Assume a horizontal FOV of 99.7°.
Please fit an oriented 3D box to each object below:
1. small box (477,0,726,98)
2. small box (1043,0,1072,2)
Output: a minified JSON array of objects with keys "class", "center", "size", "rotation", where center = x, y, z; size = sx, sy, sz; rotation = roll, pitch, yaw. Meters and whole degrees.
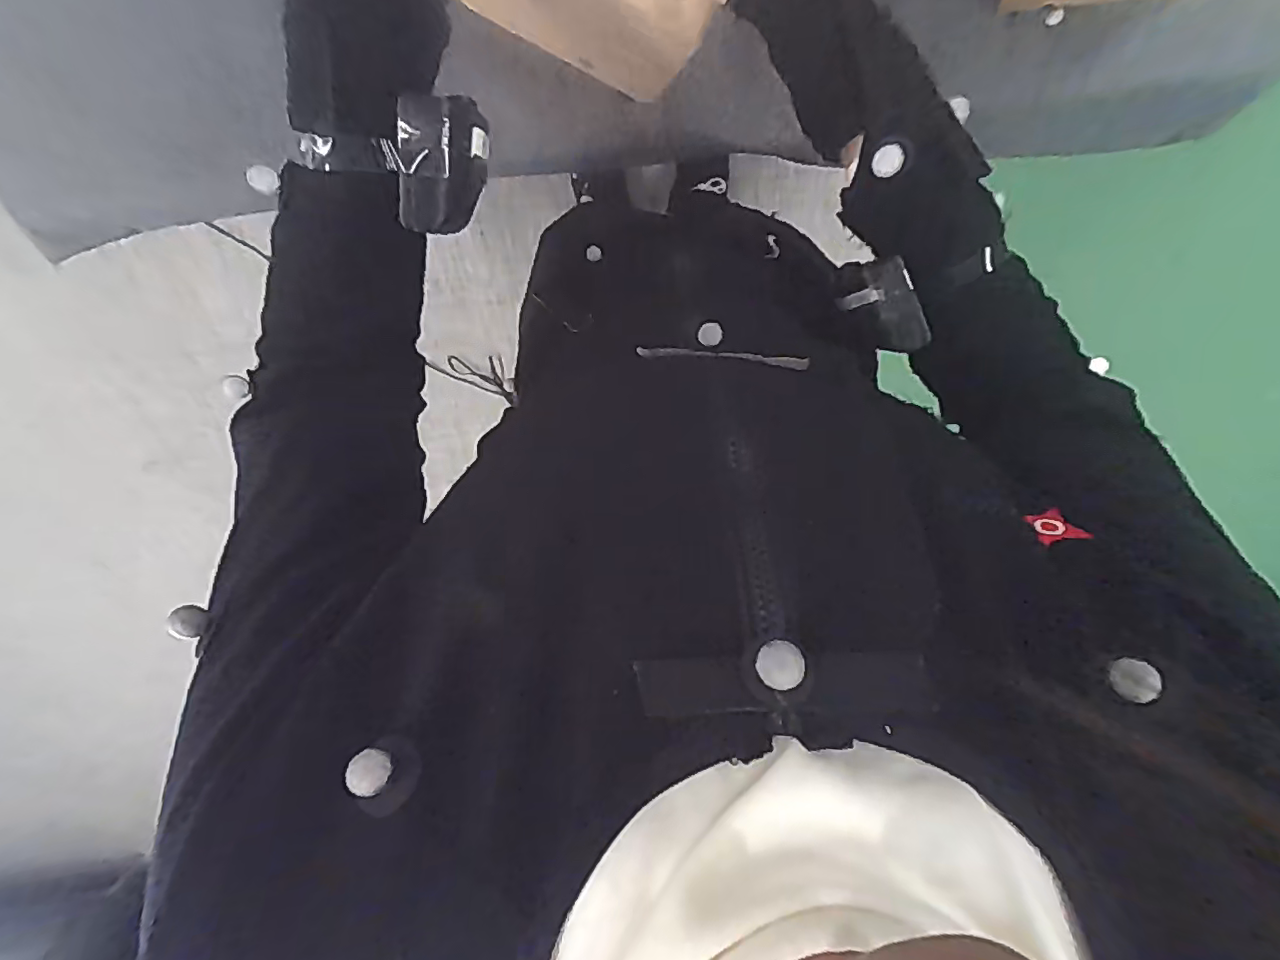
[{"class":"small box","center":[-0.015,-0.383,0.333],"size":[0.168,0.176,0.179],"rotation":[17,109,-17]},{"class":"small box","center":[0.392,-0.438,0.352],"size":[0.168,0.176,0.179],"rotation":[-6,124,-1]}]
